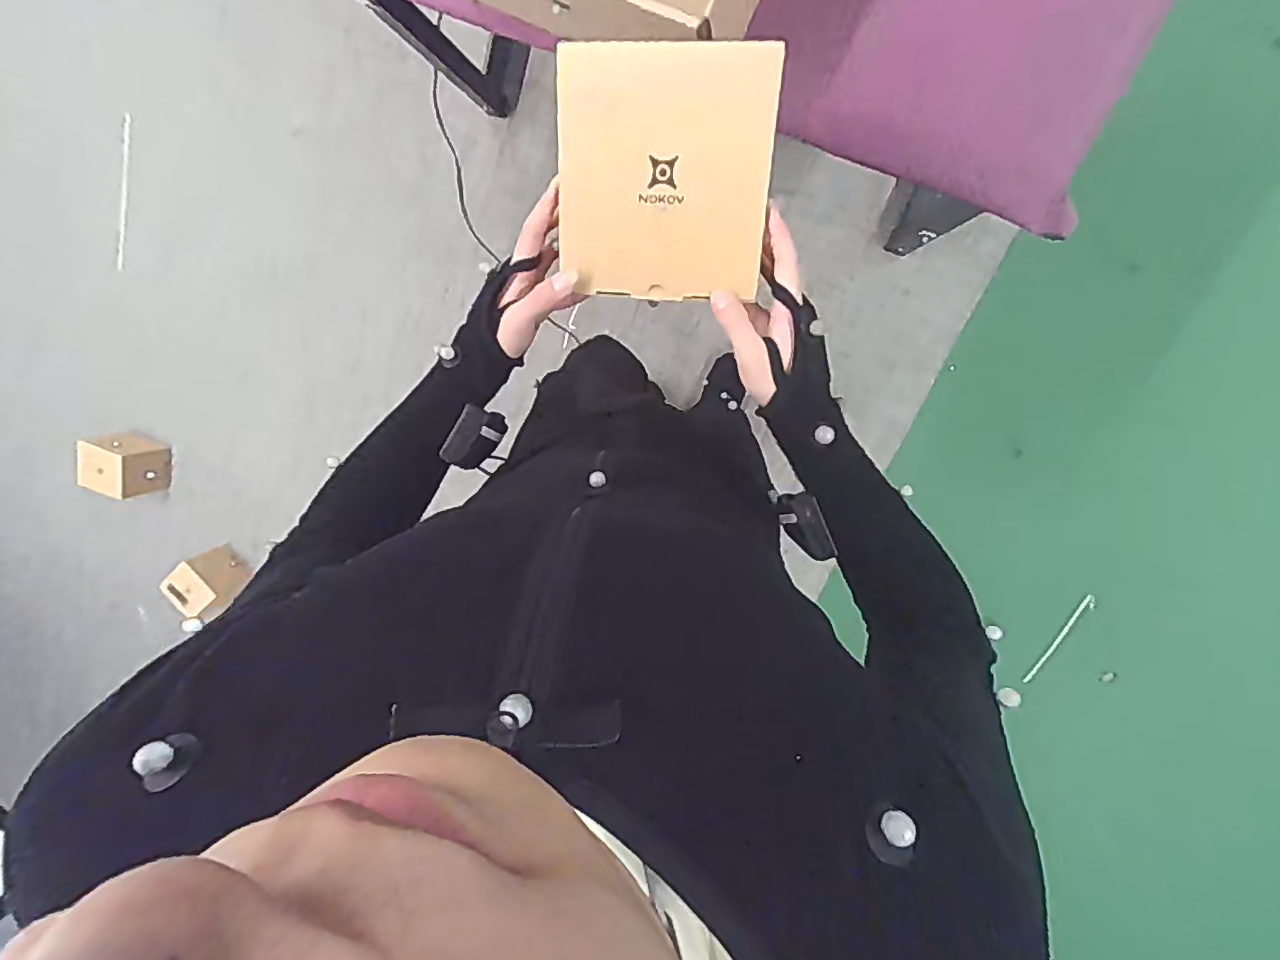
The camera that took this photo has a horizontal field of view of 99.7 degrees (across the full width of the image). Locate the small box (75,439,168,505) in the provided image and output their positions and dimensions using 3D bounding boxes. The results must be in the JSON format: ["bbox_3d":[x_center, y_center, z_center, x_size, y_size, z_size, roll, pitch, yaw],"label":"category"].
[{"bbox_3d":[-1.806,-0.035,1.888,0.179,0.176,0.168,19,106,5],"label":"small box"}]

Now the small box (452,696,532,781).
[{"bbox_3d":[-0.509,0.895,1.880,0.179,0.176,0.168,-35,96,16],"label":"small box"}]
